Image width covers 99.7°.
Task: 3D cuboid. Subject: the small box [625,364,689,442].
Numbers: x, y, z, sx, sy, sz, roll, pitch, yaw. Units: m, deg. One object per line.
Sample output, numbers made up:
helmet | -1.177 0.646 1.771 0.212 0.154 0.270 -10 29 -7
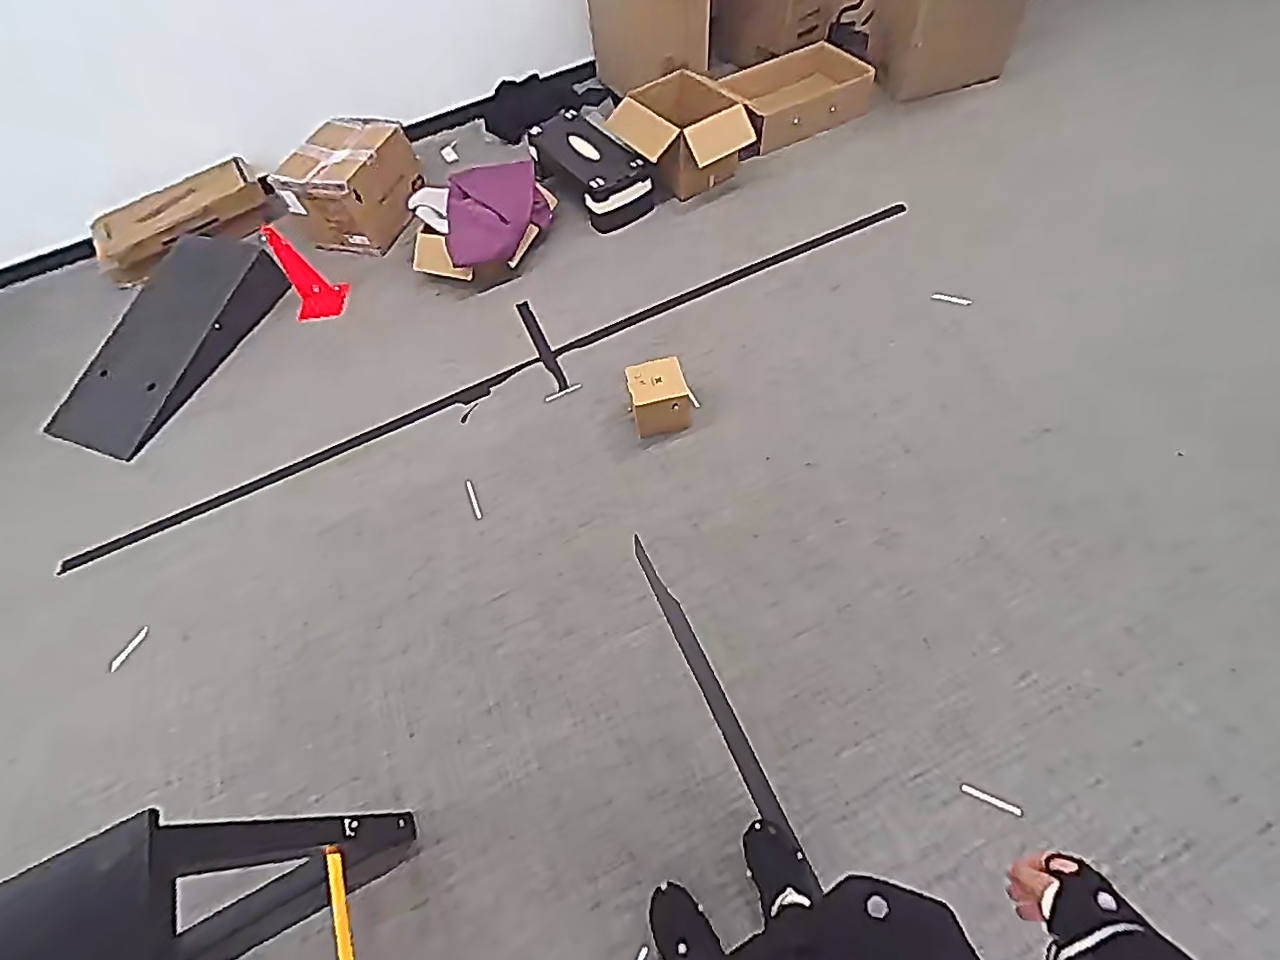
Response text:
small box | 0.058 -0.249 1.772 0.179 0.176 0.168 -13 58 -1
